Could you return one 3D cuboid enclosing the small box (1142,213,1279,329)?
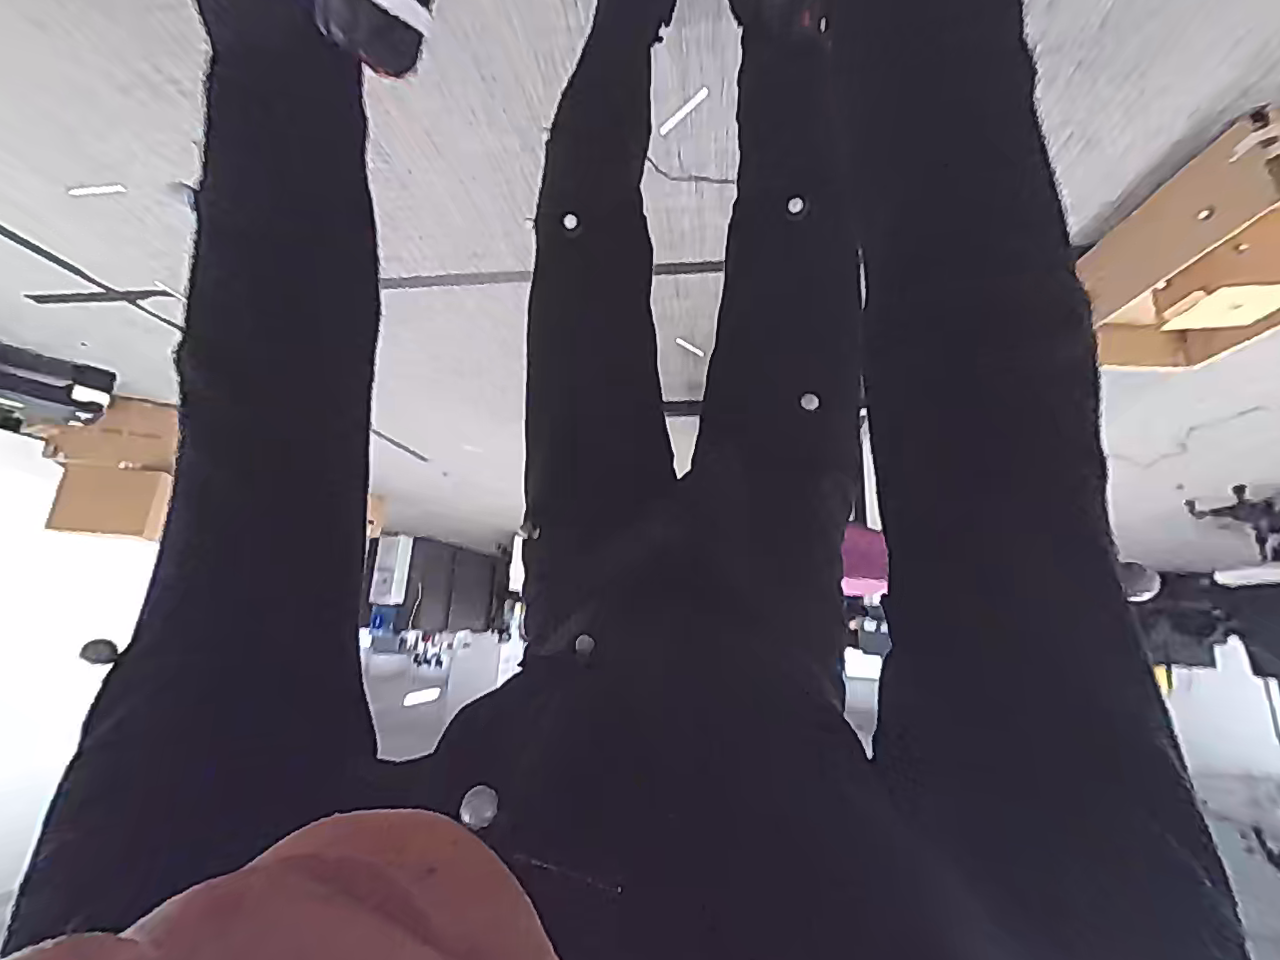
[{"bbox_3d":[1.221,-0.437,1.140,0.179,0.176,0.168,1,166,8],"label":"small box"}]
